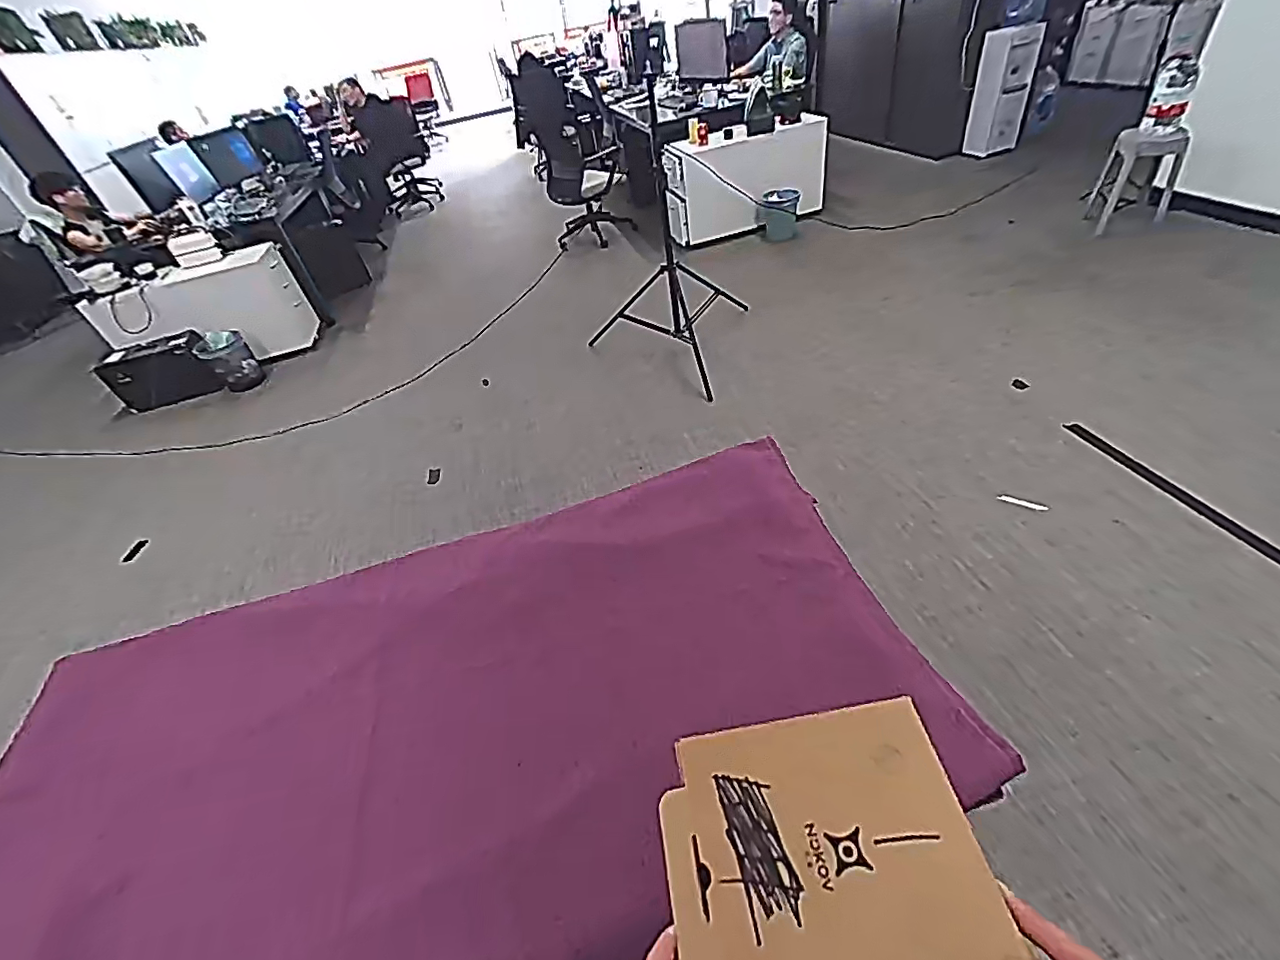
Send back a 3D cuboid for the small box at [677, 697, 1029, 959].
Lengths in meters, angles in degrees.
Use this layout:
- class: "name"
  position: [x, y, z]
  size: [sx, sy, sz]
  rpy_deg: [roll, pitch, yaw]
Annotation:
- class: "small box"
  position: [0.133, 0.286, 0.402]
  size: [0.179, 0.176, 0.168]
  rpy_deg: [-11, 49, 0]
